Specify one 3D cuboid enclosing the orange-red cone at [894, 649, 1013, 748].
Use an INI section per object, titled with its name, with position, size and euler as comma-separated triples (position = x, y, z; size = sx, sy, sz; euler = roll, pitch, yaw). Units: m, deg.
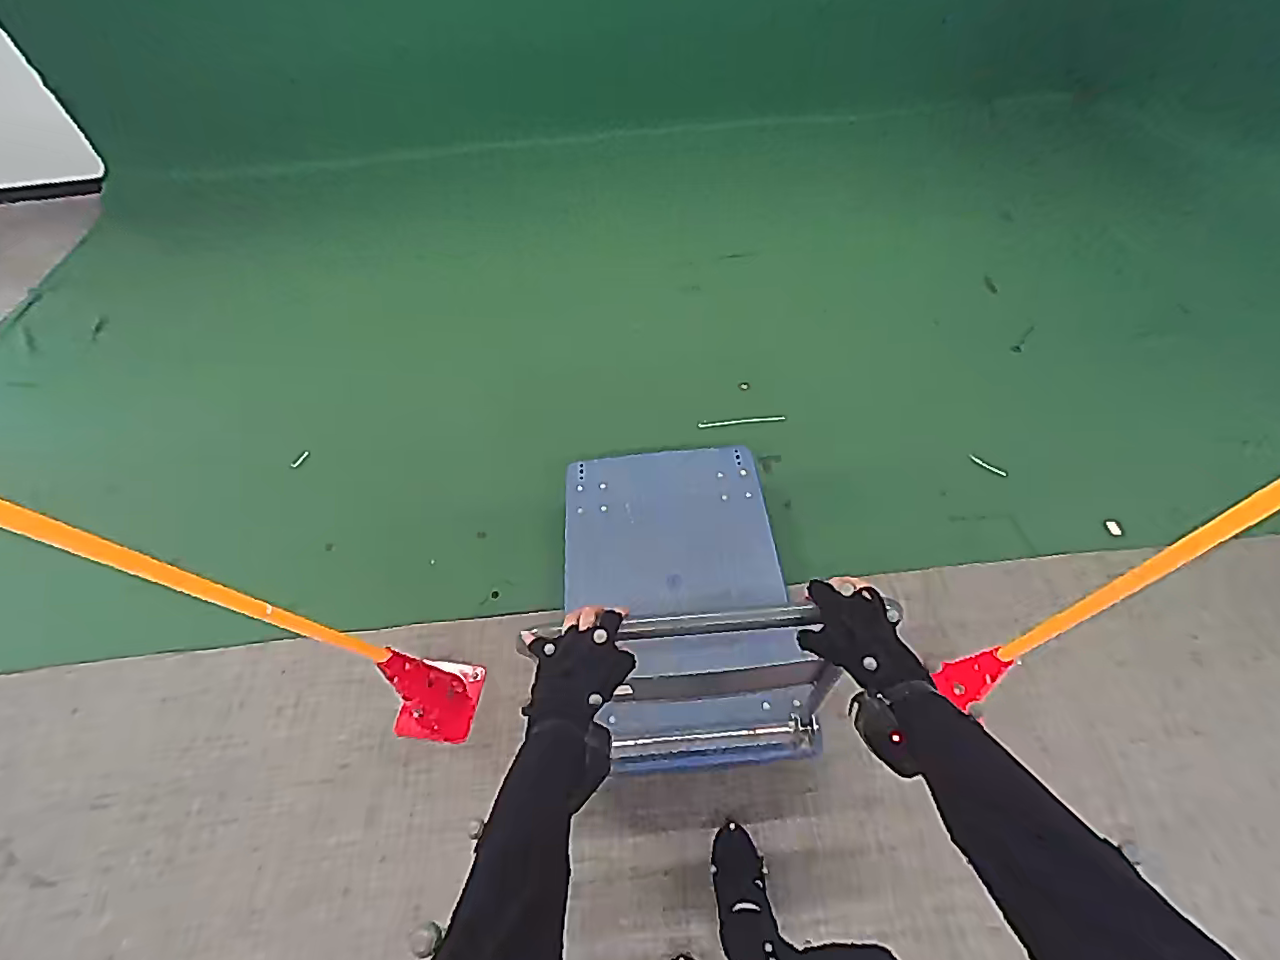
[orange-red cone]
position = 0.748, 0.466, 1.235
size = 0.198, 0.360, 0.199
euler = 3, 54, 7
